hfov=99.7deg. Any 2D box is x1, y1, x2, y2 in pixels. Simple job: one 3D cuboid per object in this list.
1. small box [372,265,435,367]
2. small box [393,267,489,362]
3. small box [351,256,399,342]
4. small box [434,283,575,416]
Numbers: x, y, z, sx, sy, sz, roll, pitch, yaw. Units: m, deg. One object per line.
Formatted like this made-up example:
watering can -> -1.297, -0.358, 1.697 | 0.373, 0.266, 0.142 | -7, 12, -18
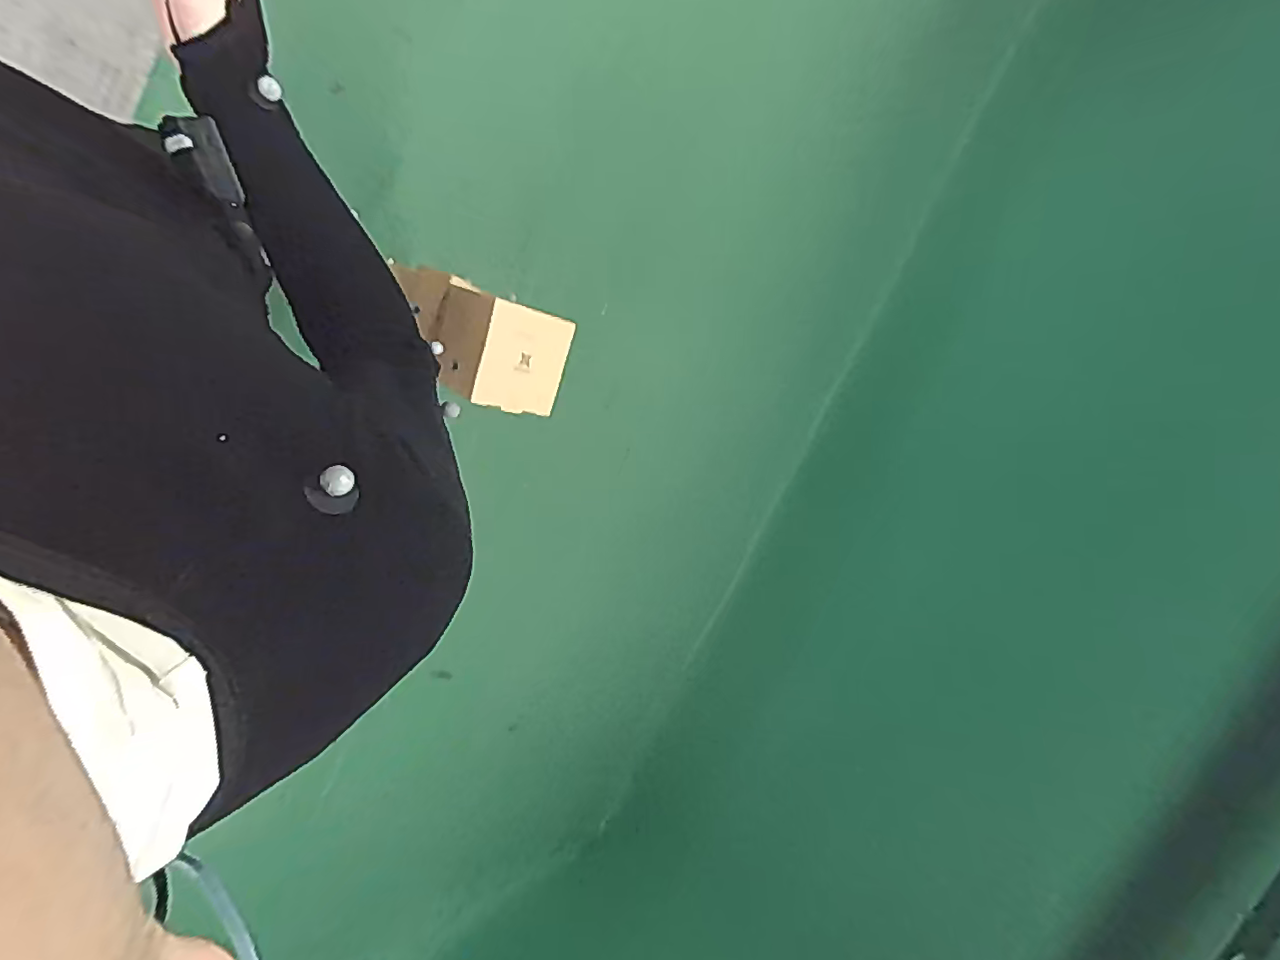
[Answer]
small box -> -0.465, -0.354, 1.192 | 0.168, 0.176, 0.179 | 13, 104, -47
small box -> -0.361, -0.306, 1.074 | 0.179, 0.176, 0.168 | 18, 100, -47
small box -> -0.571, -0.413, 1.302 | 0.168, 0.176, 0.179 | 16, 101, -48
small box -> -0.251, -0.235, 0.975 | 0.168, 0.176, 0.179 | 6, 108, -47
